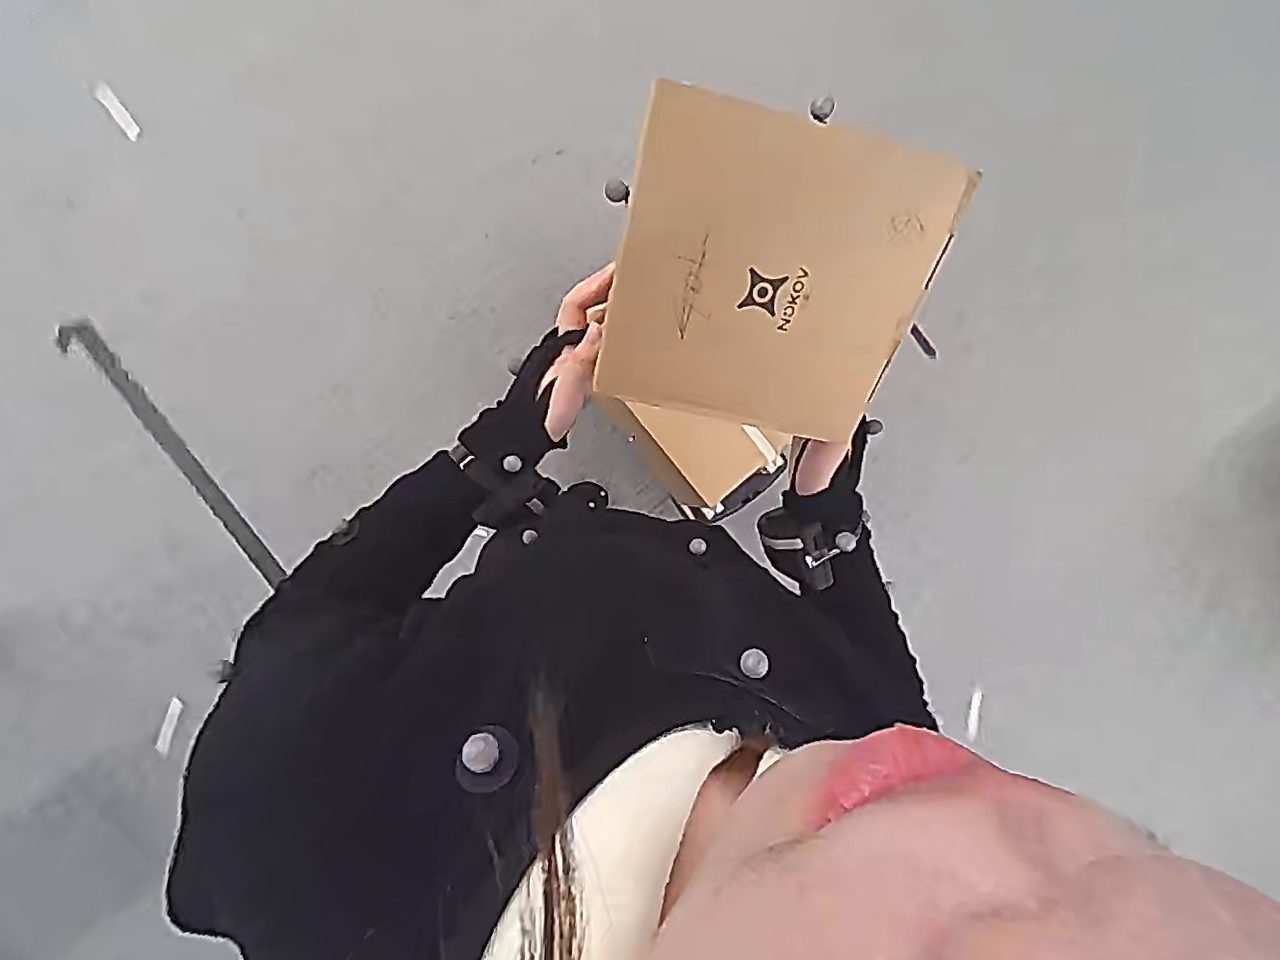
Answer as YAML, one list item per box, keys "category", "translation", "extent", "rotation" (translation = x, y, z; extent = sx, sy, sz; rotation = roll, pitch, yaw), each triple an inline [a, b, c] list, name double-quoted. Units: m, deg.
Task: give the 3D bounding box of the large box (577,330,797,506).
- category: "large box"
  translation: [0.108, -0.190, 1.180]
  extent: [0.320, 0.320, 0.408]
  rotation: [-39, 93, -7]

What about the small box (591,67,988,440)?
- category: "small box"
  translation: [0.071, -0.150, 0.363]
  extent: [0.179, 0.176, 0.168]
  rotation: [10, 122, -7]
